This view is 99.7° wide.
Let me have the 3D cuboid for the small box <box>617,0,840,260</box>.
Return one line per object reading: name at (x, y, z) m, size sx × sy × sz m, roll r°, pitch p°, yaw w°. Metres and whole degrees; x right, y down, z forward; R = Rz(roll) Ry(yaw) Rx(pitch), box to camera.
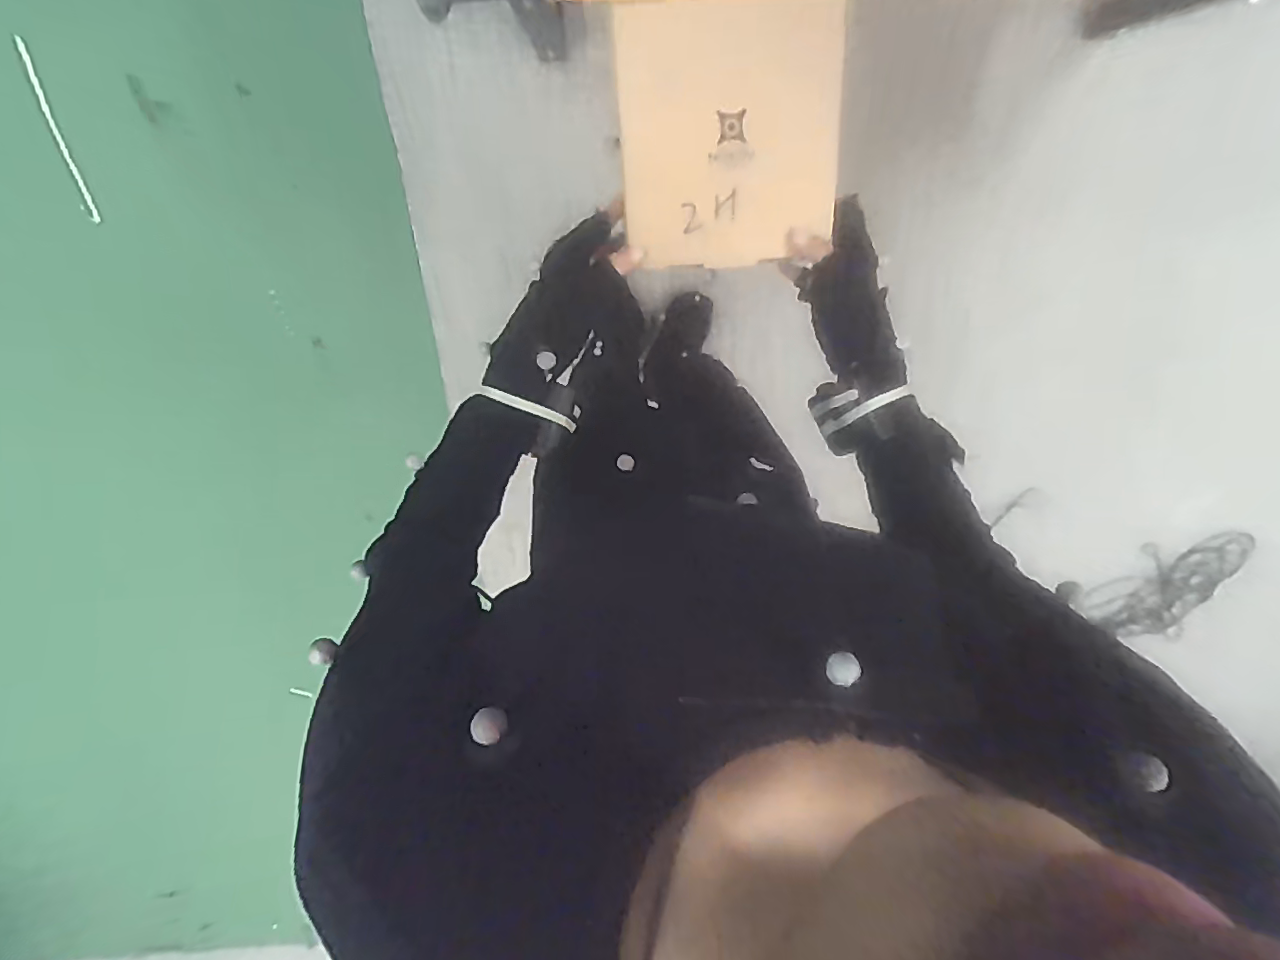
small box at (0.065, -0.301, 0.492) m, size 0.168 × 0.176 × 0.179 m, roll -4°, pitch 111°, yaw 0°
